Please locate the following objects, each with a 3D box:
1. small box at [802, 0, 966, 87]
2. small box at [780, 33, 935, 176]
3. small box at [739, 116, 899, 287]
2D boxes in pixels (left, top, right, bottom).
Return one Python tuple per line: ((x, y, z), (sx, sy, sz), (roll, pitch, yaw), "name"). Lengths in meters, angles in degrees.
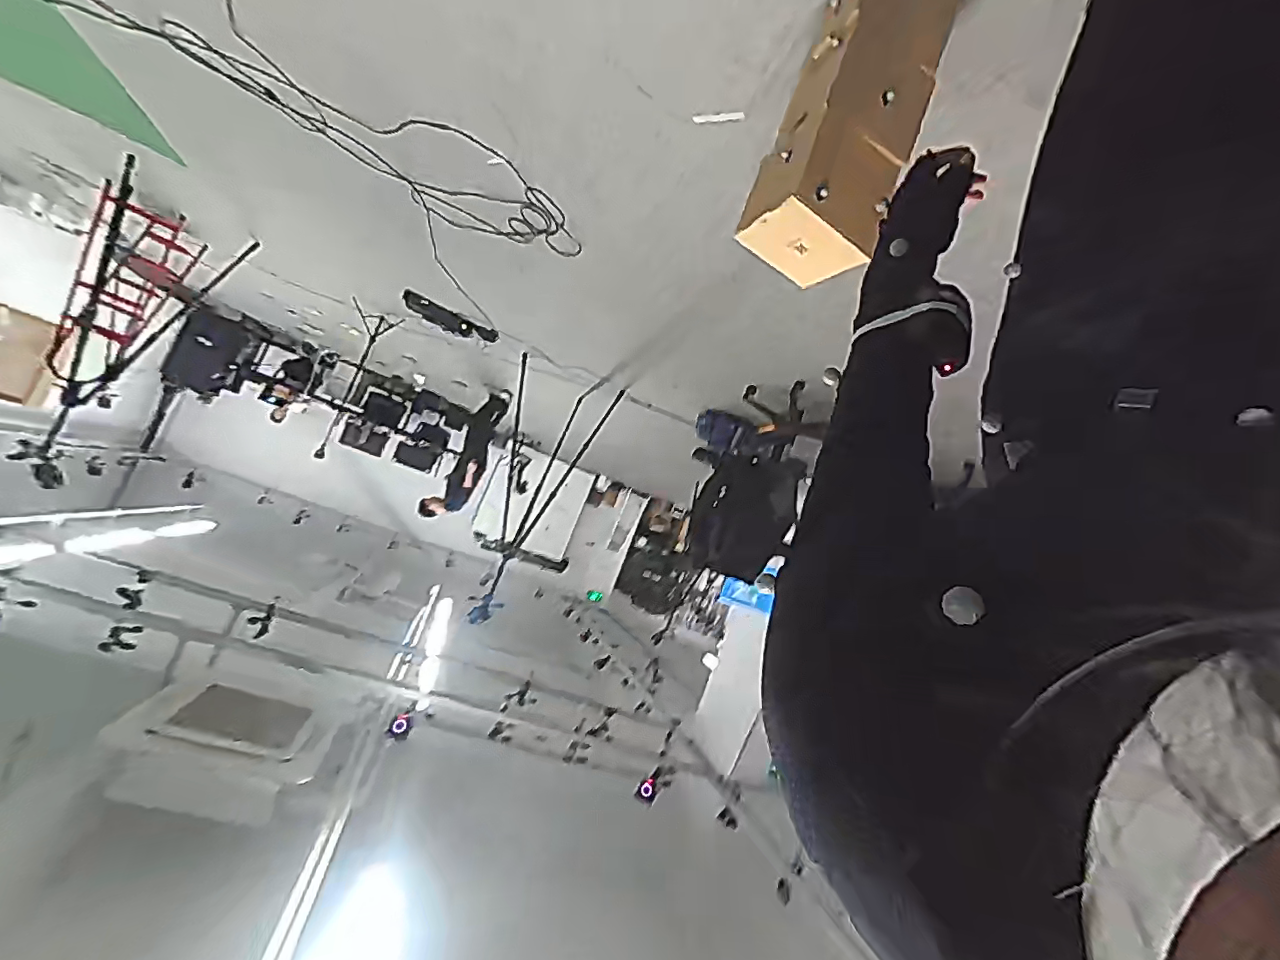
((0.429, -0.776, 0.959), (0.179, 0.176, 0.168), (25, 175, -15), "small box")
((0.371, -0.620, 0.945), (0.179, 0.176, 0.168), (23, 173, -18), "small box")
((0.309, -0.470, 0.932), (0.179, 0.176, 0.168), (25, 172, -23), "small box")
